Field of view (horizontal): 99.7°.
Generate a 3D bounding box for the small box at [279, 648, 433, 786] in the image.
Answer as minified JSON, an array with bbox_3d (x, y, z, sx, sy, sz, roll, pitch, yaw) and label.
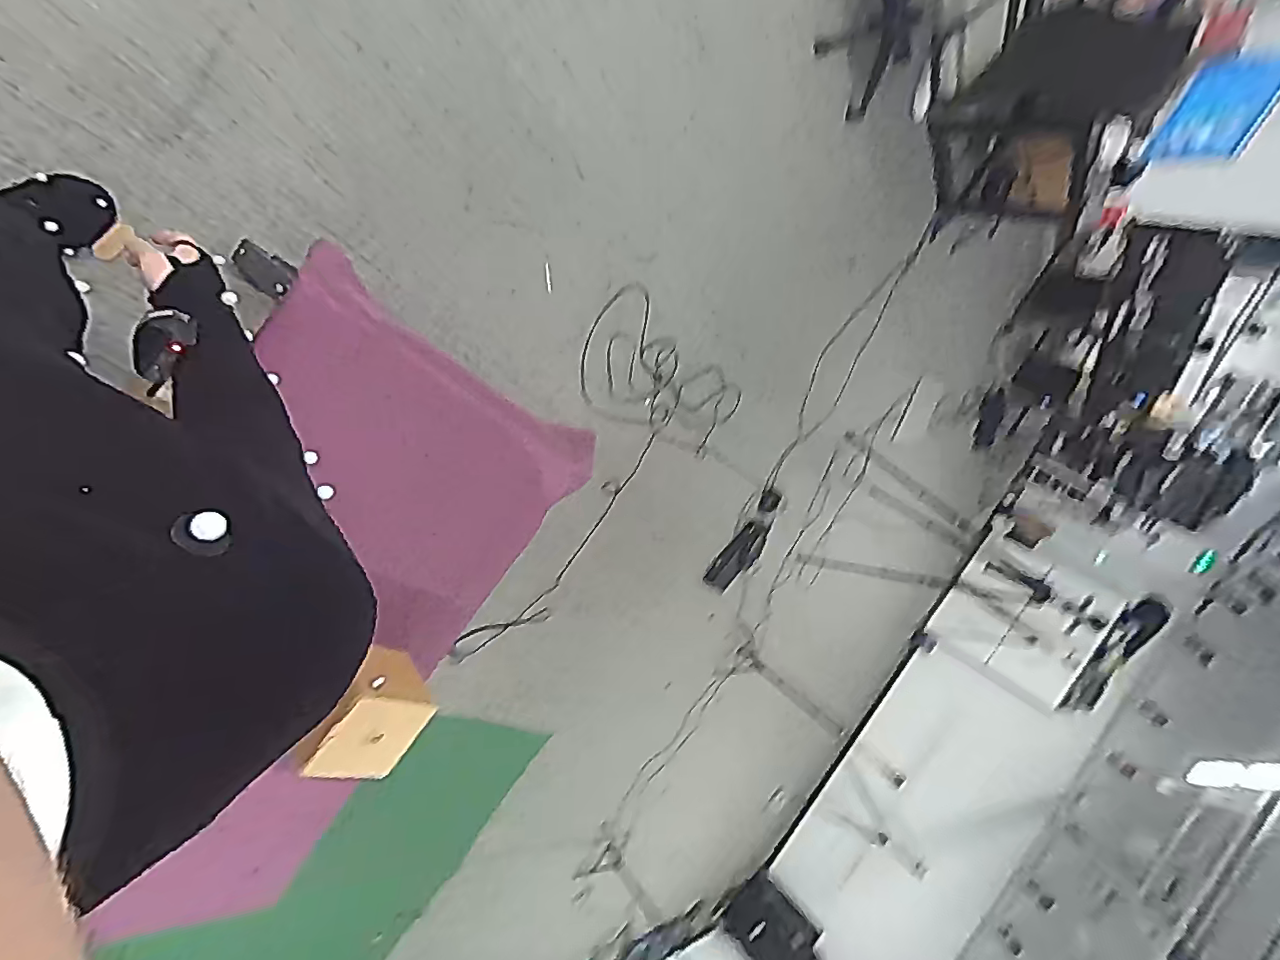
[{"bbox_3d":[-0.535,0.442,1.017,0.168,0.176,0.179,-52,139,-4],"label":"small box"}]
